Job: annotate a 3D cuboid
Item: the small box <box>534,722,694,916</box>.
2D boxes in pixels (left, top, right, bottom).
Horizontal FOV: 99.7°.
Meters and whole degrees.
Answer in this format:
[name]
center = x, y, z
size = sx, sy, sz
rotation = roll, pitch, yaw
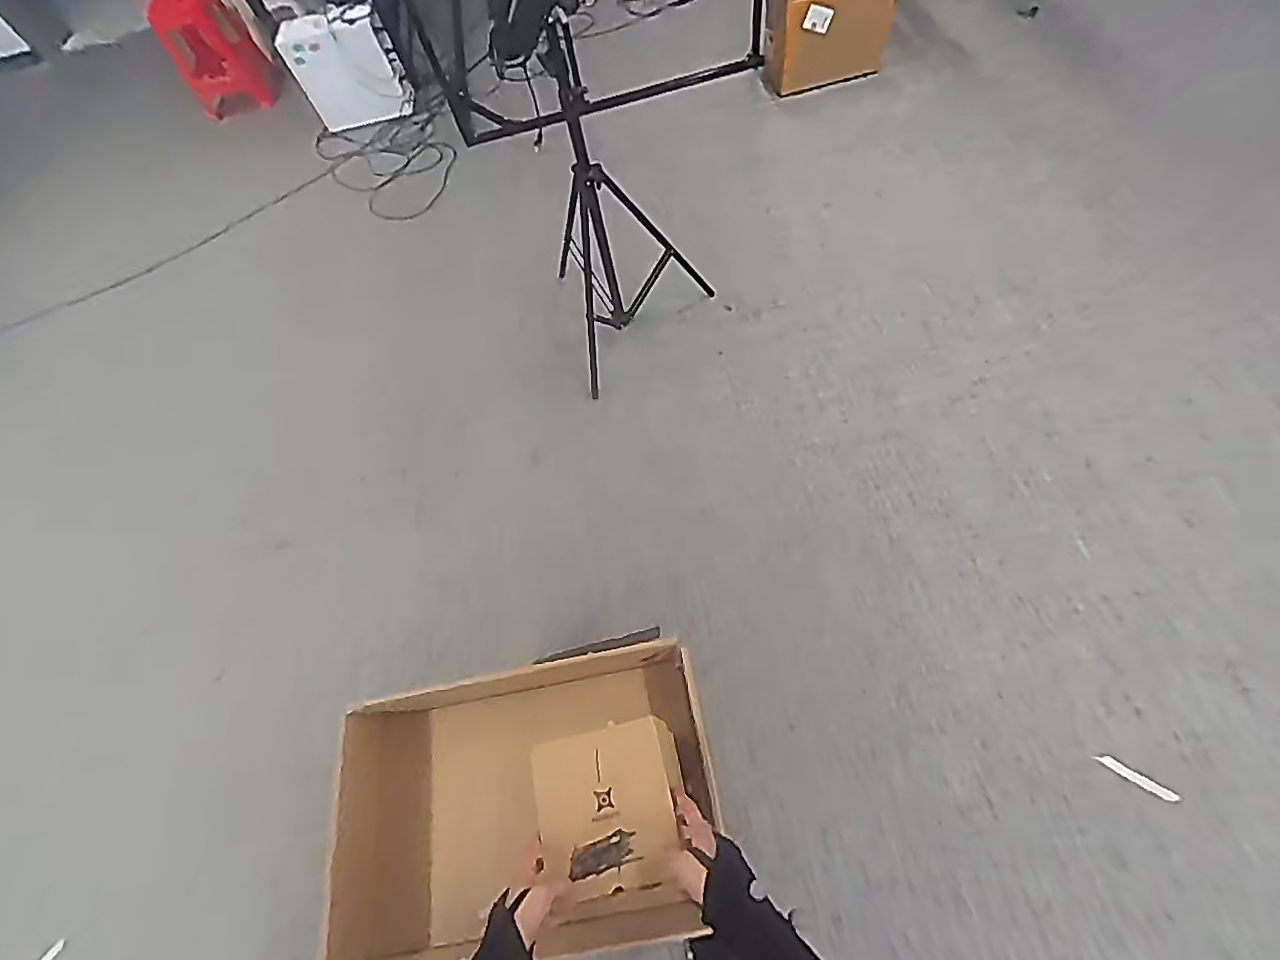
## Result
[small box]
center = -0.029, 0.434, 0.719
size = 0.168, 0.176, 0.179
rotation = -15, 62, 1
